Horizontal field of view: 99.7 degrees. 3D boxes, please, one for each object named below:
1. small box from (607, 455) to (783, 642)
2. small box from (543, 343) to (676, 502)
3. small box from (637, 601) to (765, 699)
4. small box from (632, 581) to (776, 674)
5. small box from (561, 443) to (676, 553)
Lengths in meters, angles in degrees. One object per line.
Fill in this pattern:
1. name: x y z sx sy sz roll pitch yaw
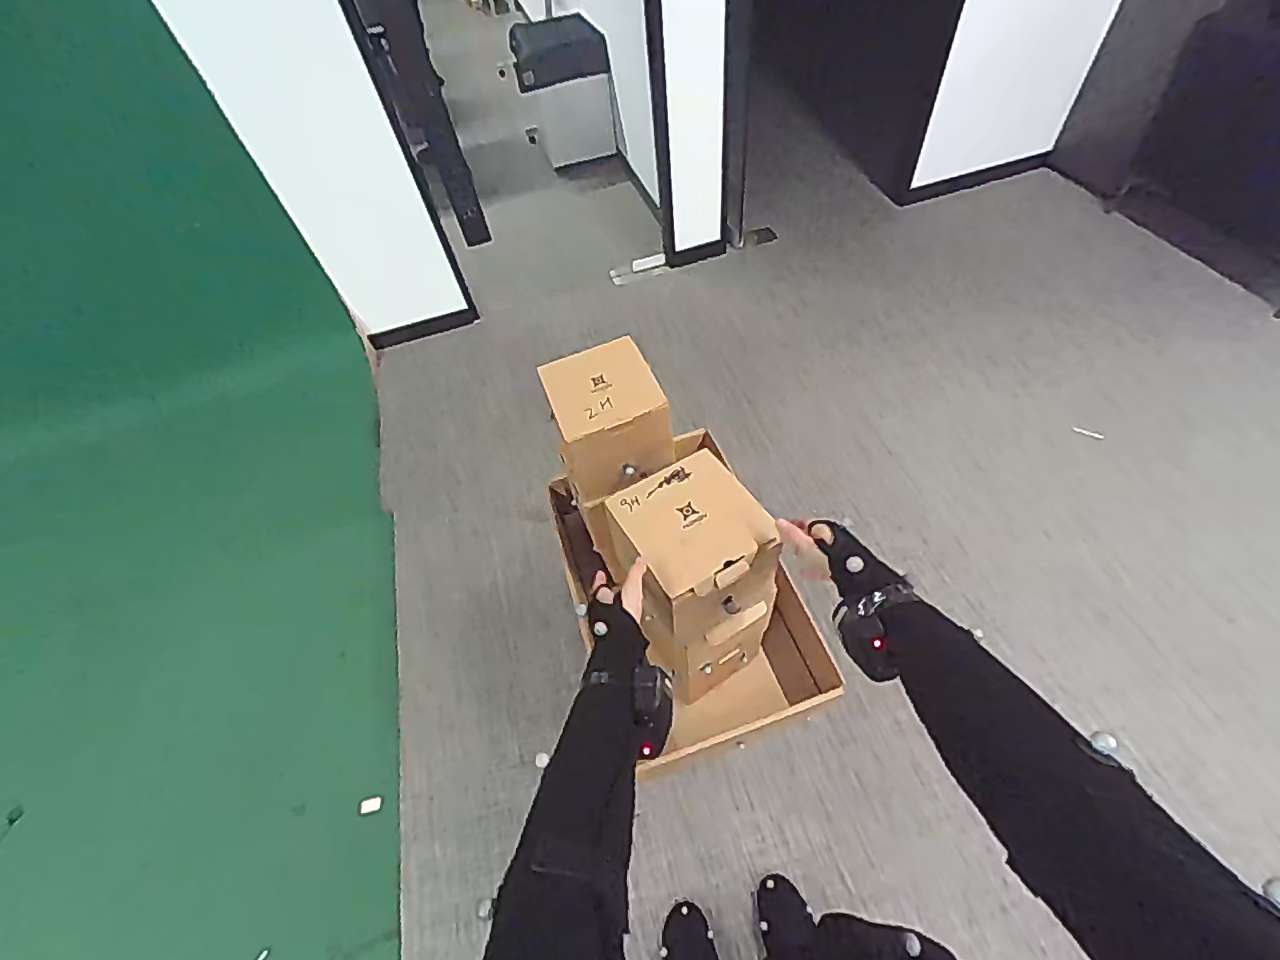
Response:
1. small box: 0.073 0.104 0.756 0.168 0.176 0.179 -26 56 -13
2. small box: -0.048 -0.094 0.912 0.168 0.176 0.179 -21 55 -6
3. small box: 0.114 0.290 1.022 0.168 0.176 0.179 -29 55 -14
4. small box: 0.100 0.195 0.890 0.168 0.176 0.179 -29 55 -14
5. small box: -0.032 0.011 1.039 0.179 0.176 0.168 -23 55 -7
